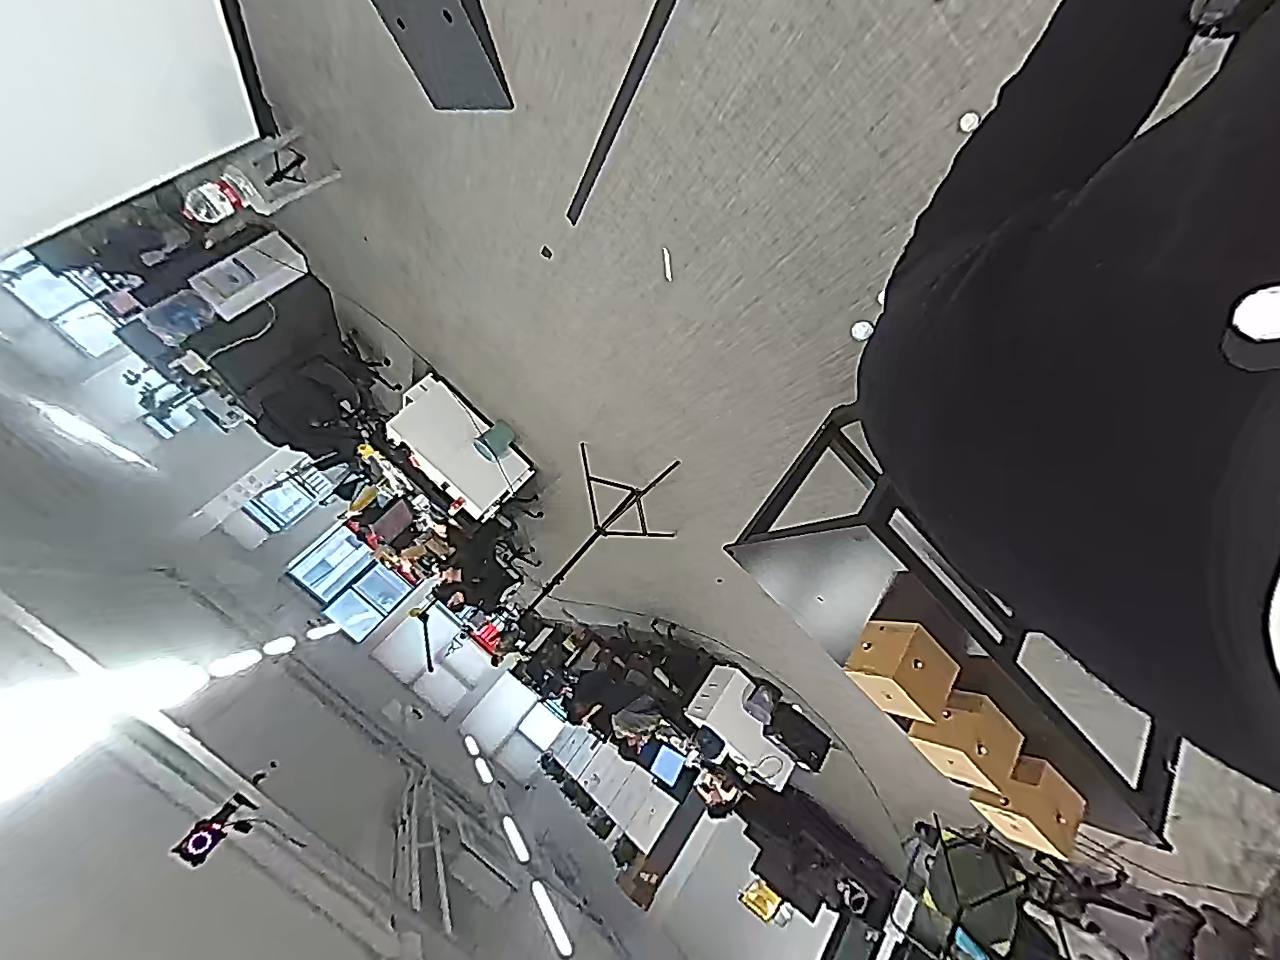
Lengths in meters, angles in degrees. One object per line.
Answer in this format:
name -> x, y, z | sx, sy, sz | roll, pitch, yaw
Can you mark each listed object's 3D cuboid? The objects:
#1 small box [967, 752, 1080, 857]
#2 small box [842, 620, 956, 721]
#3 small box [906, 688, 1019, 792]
small box -> 1.045, 0.865, 1.471 | 0.179, 0.176, 0.168 | 44, 156, -6
small box -> 0.666, 0.479, 1.389 | 0.179, 0.176, 0.168 | 44, 157, -9
small box -> 0.854, 0.673, 1.432 | 0.179, 0.176, 0.168 | 46, 156, -10
